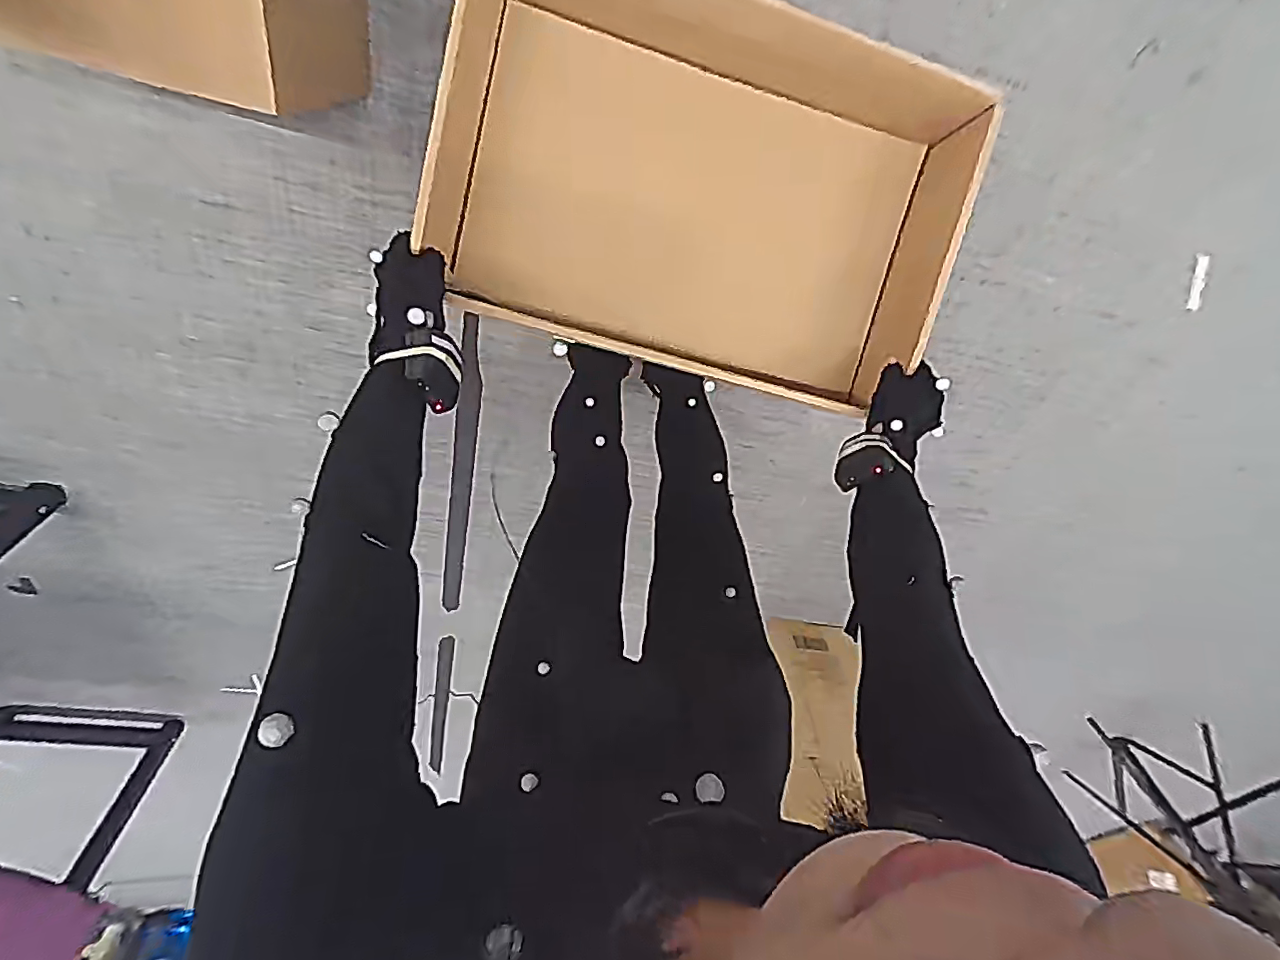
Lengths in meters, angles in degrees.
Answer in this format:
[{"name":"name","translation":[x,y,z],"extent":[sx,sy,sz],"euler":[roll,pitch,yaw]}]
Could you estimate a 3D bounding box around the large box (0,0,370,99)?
[{"name":"large box","translation":[-0.558,-0.651,0.579],"extent":[0.408,0.320,0.320],"euler":[8,129,-11]}]
